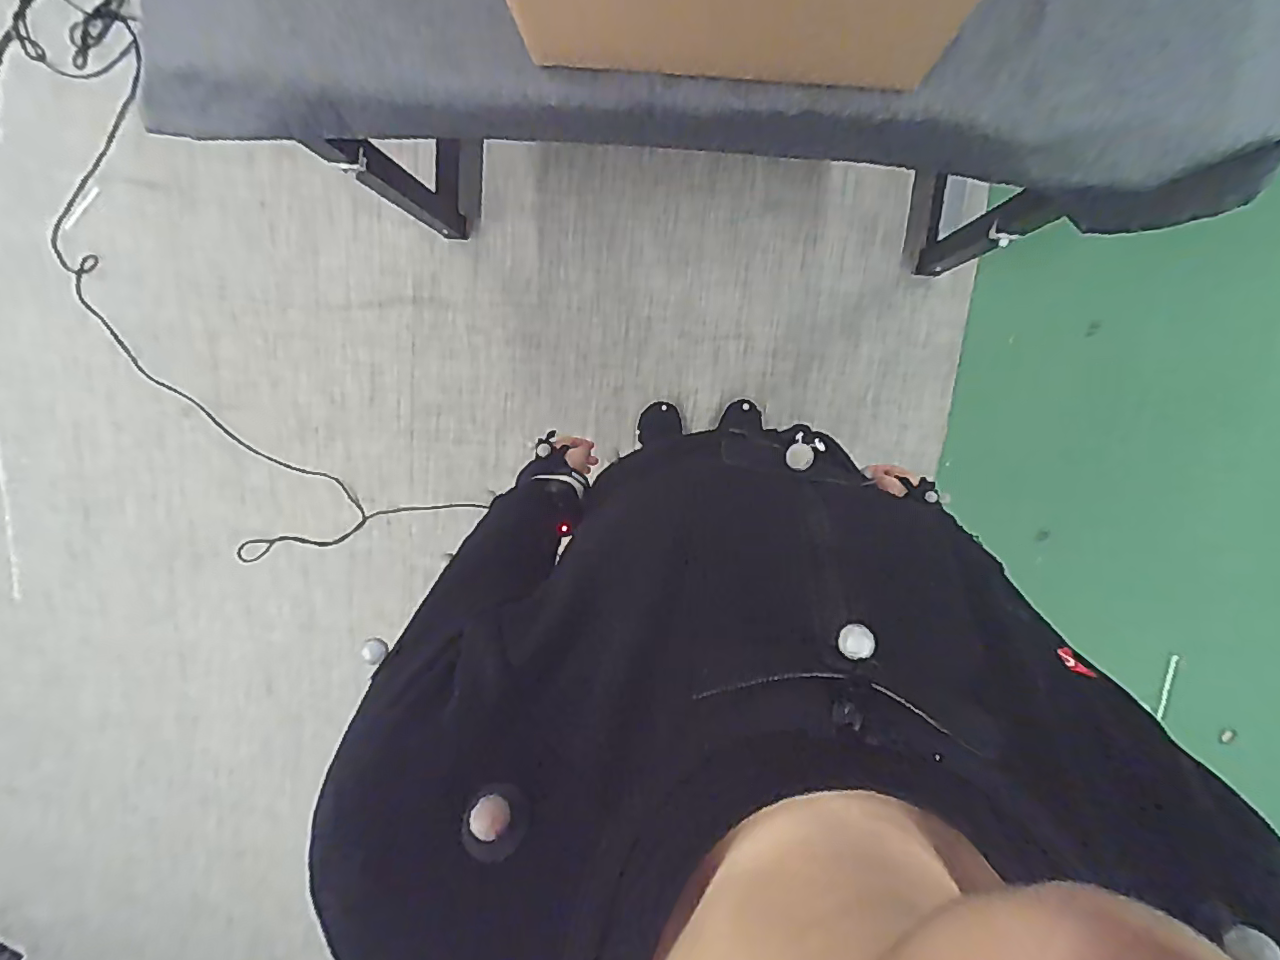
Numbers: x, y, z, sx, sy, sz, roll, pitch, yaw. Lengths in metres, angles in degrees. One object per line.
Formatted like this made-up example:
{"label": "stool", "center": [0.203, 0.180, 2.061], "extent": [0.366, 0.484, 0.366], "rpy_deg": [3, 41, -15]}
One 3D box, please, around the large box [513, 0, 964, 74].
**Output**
{"label": "large box", "center": [0.085, -0.559, 0.397], "extent": [0.408, 0.320, 0.320], "rpy_deg": [6, 98, 2]}
